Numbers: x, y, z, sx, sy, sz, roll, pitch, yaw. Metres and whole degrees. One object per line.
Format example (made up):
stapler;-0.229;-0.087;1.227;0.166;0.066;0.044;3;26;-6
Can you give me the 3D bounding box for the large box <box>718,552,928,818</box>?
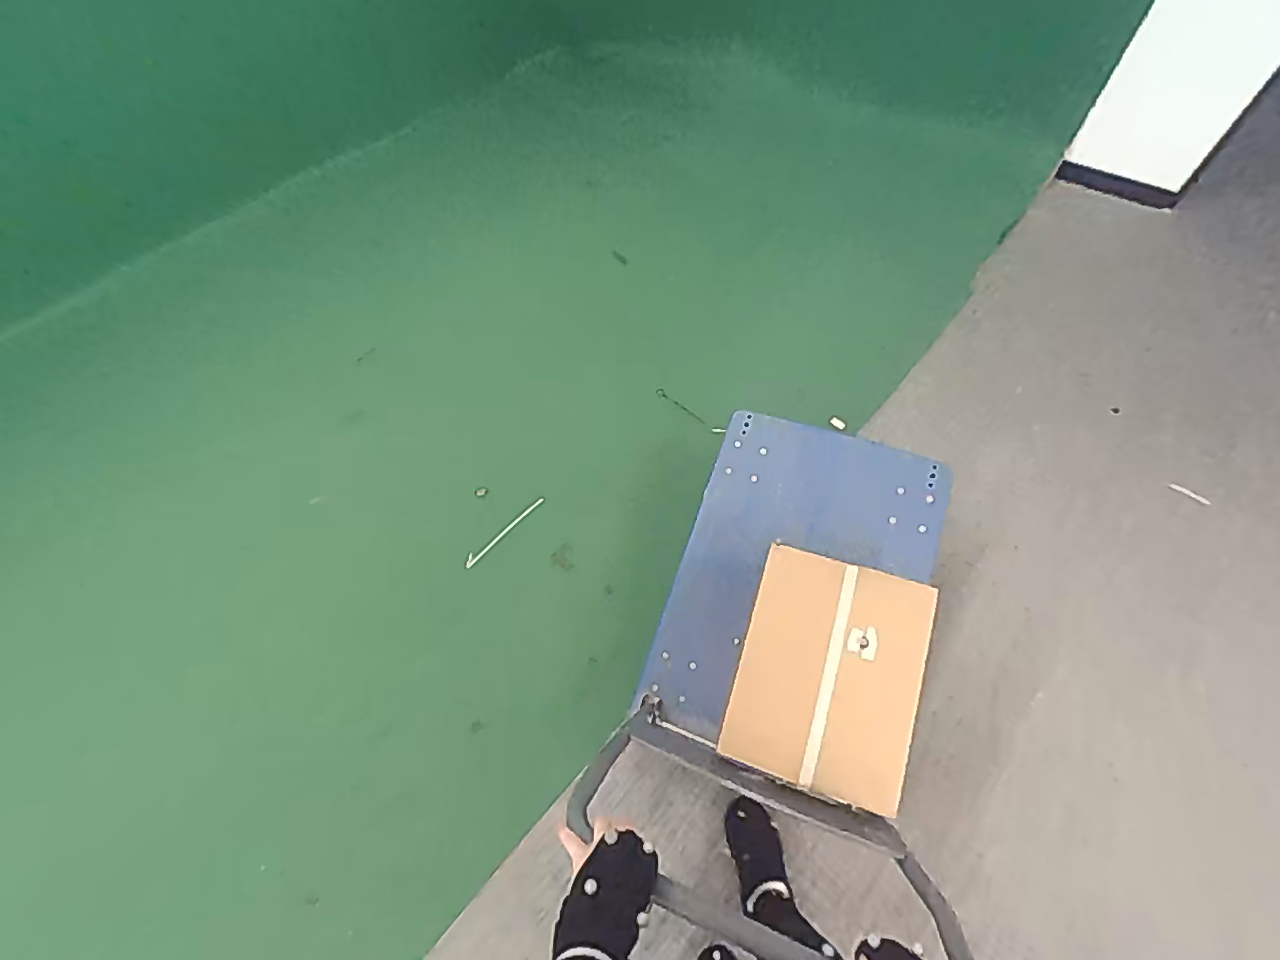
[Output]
large box;0.368;0.410;1.147;0.320;0.320;0.408;16;75;13
